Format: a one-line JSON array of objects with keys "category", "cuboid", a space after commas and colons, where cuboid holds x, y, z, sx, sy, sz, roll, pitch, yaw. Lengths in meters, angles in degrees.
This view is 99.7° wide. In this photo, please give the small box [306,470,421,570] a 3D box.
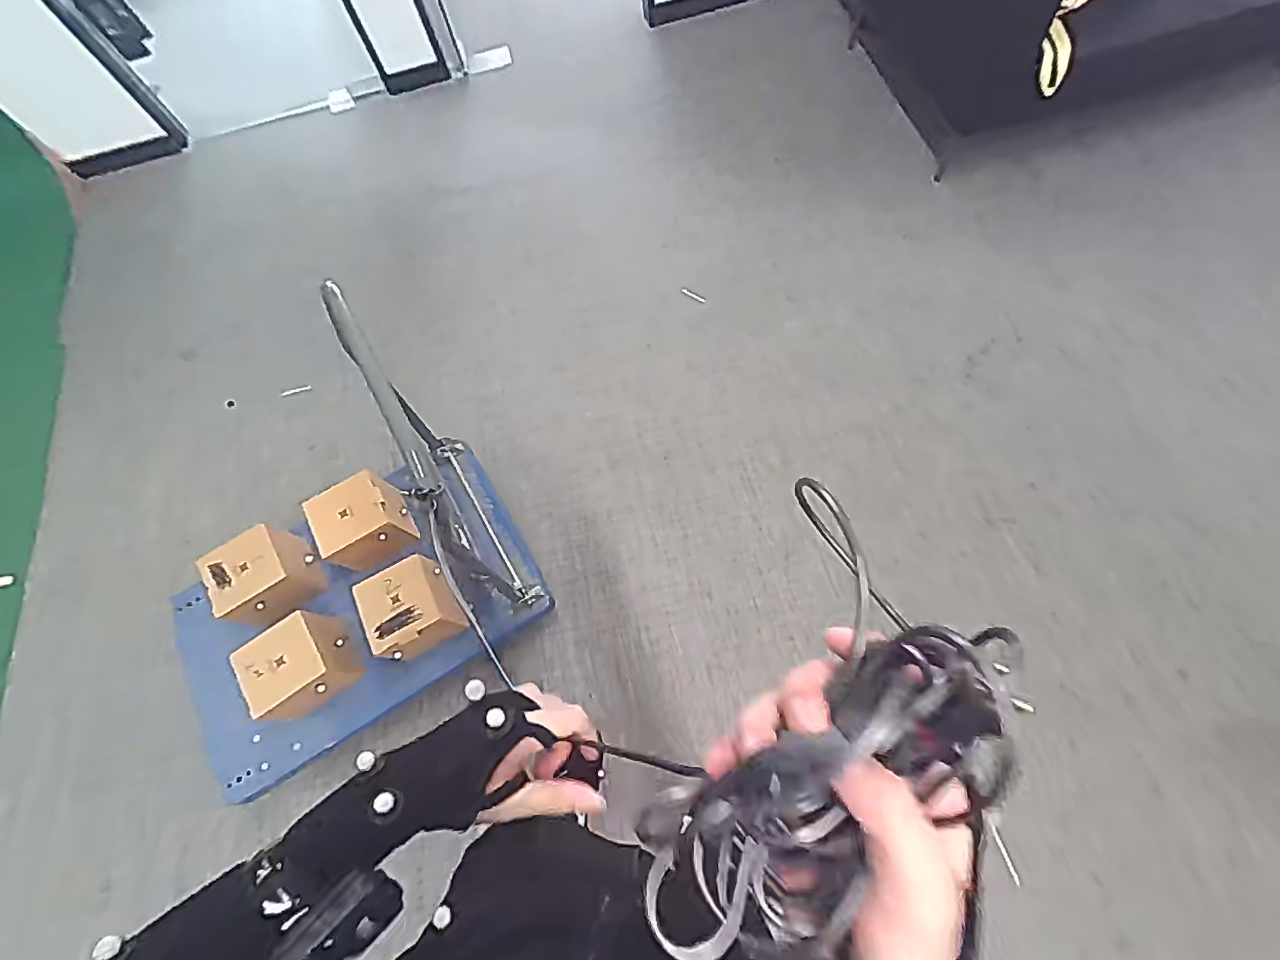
[{"category": "small box", "cuboid": [-0.700, 0.109, 1.382, 0.179, 0.176, 0.168, -31, 69, -7]}]

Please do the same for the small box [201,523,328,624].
[{"category": "small box", "cuboid": [-0.929, 0.239, 1.348, 0.179, 0.176, 0.168, -33, 70, -9]}]

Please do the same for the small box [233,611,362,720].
[{"category": "small box", "cuboid": [-0.784, 0.432, 1.260, 0.179, 0.176, 0.168, -35, 69, -9]}]
